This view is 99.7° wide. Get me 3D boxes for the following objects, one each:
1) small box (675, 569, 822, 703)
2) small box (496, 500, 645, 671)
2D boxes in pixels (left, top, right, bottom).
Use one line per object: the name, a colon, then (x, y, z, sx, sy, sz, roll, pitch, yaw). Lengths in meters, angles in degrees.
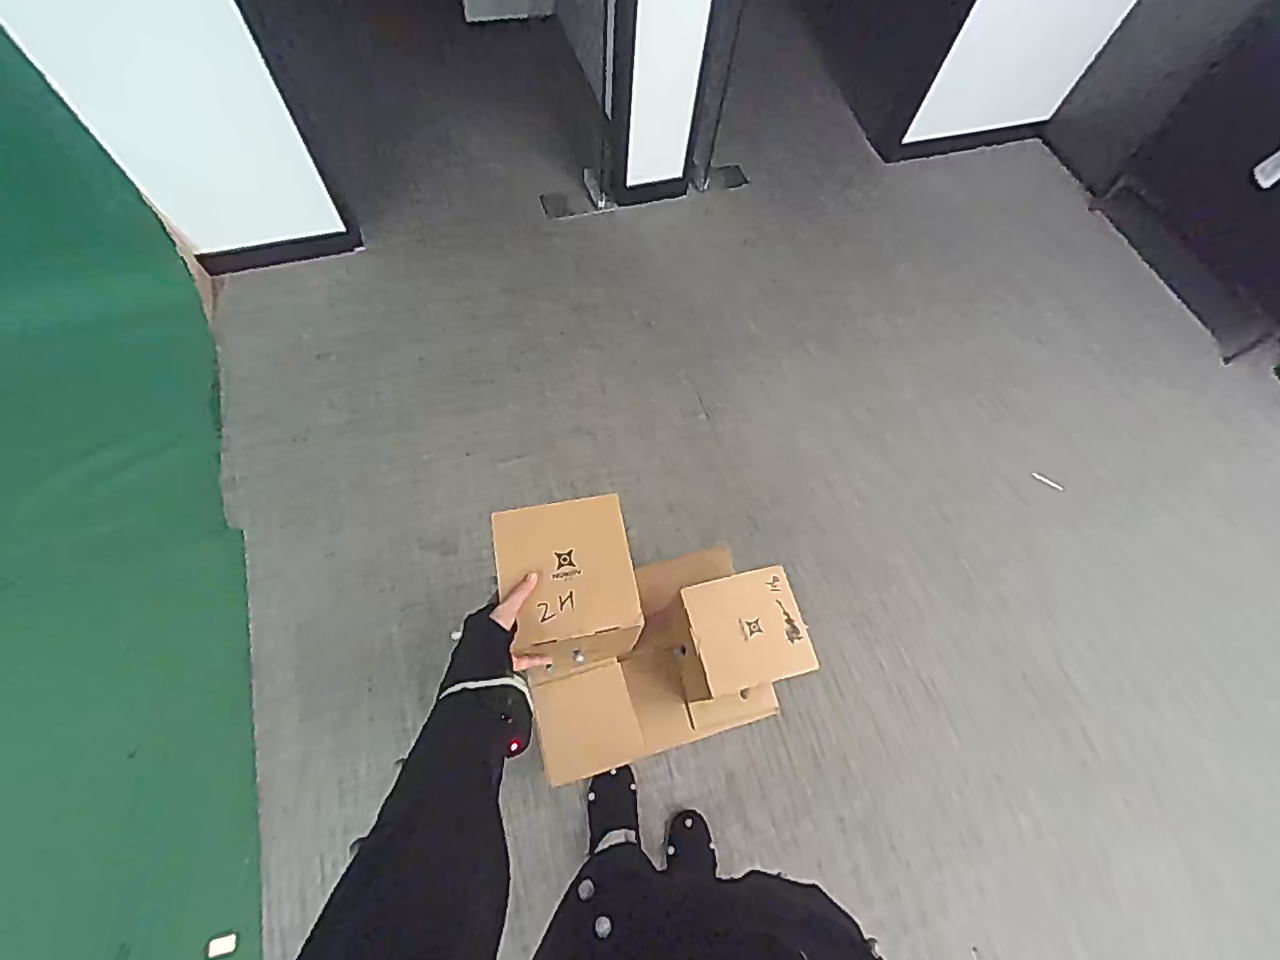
small box: (0.161, 0.261, 0.883, 0.179, 0.176, 0.168, -12, 69, -9)
small box: (-0.095, 0.148, 0.737, 0.168, 0.176, 0.179, -9, 66, -8)
